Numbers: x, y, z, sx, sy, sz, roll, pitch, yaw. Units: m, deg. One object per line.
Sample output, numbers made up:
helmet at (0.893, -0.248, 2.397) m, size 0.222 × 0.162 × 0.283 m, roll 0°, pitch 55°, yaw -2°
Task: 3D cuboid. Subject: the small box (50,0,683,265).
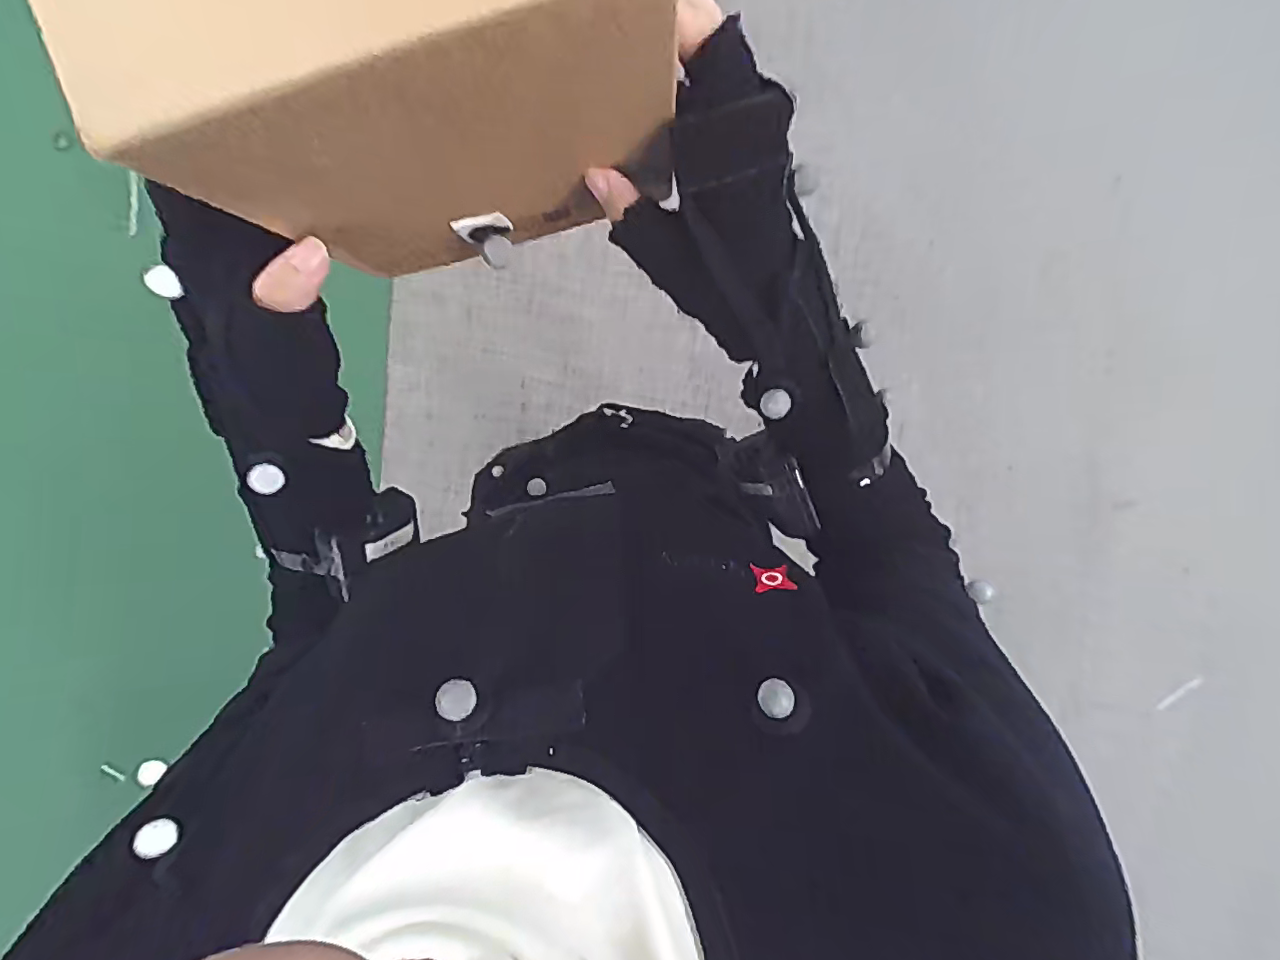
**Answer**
small box at (-0.086, -0.208, 0.208) m, size 0.168 × 0.176 × 0.179 m, roll -15°, pitch 99°, yaw 7°
